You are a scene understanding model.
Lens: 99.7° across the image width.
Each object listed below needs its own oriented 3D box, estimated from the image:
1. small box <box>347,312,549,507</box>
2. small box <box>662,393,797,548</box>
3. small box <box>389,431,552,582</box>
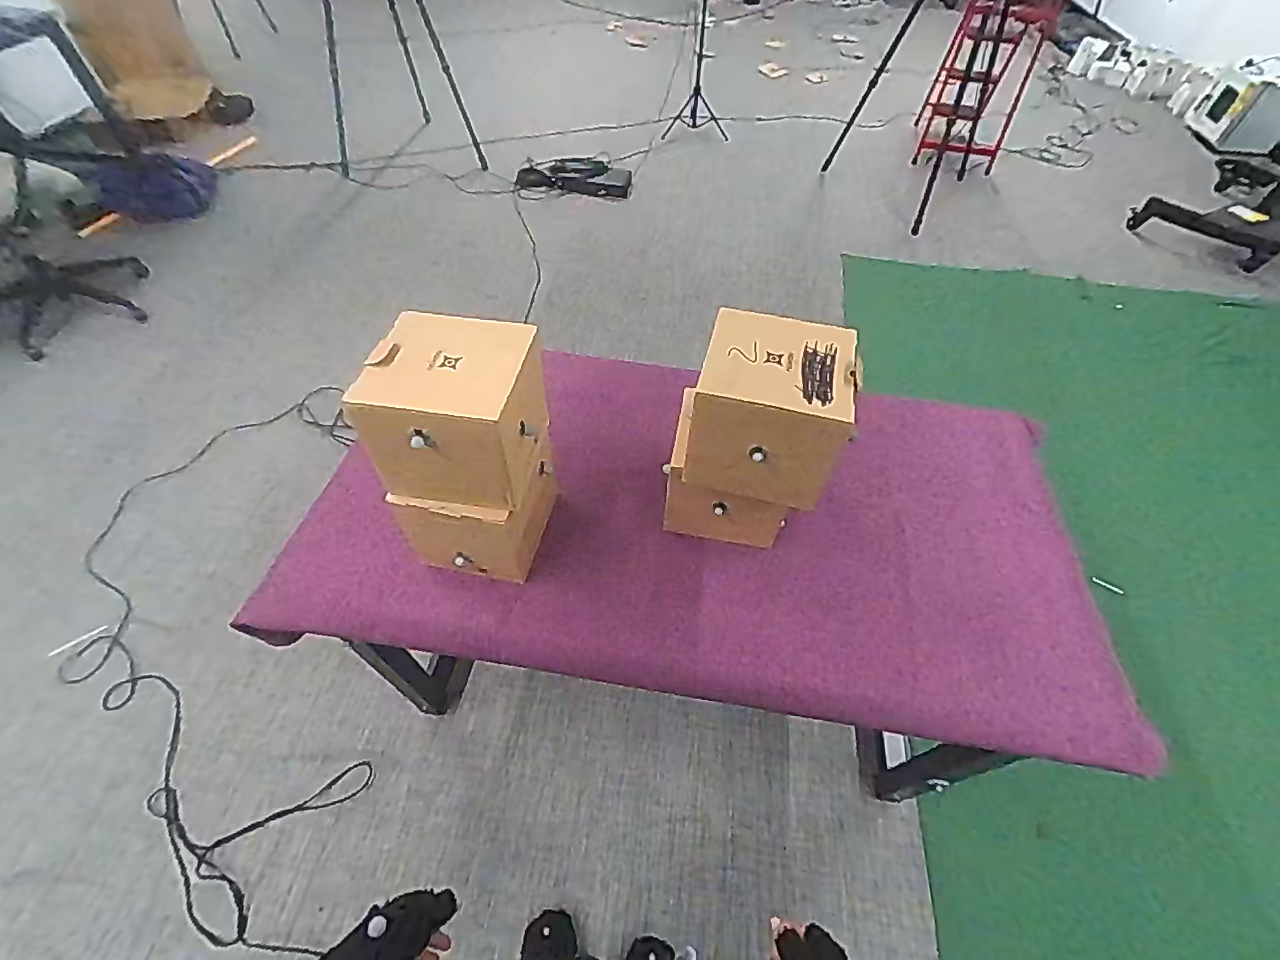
[{"bbox_3d":[-0.220,-0.083,0.683,0.179,0.176,0.168,8,53,3],"label":"small box"},{"bbox_3d":[0.137,-0.010,0.854,0.179,0.176,0.168,10,53,5],"label":"small box"},{"bbox_3d":[-0.235,0.024,0.806,0.168,0.176,0.179,12,53,6],"label":"small box"}]
